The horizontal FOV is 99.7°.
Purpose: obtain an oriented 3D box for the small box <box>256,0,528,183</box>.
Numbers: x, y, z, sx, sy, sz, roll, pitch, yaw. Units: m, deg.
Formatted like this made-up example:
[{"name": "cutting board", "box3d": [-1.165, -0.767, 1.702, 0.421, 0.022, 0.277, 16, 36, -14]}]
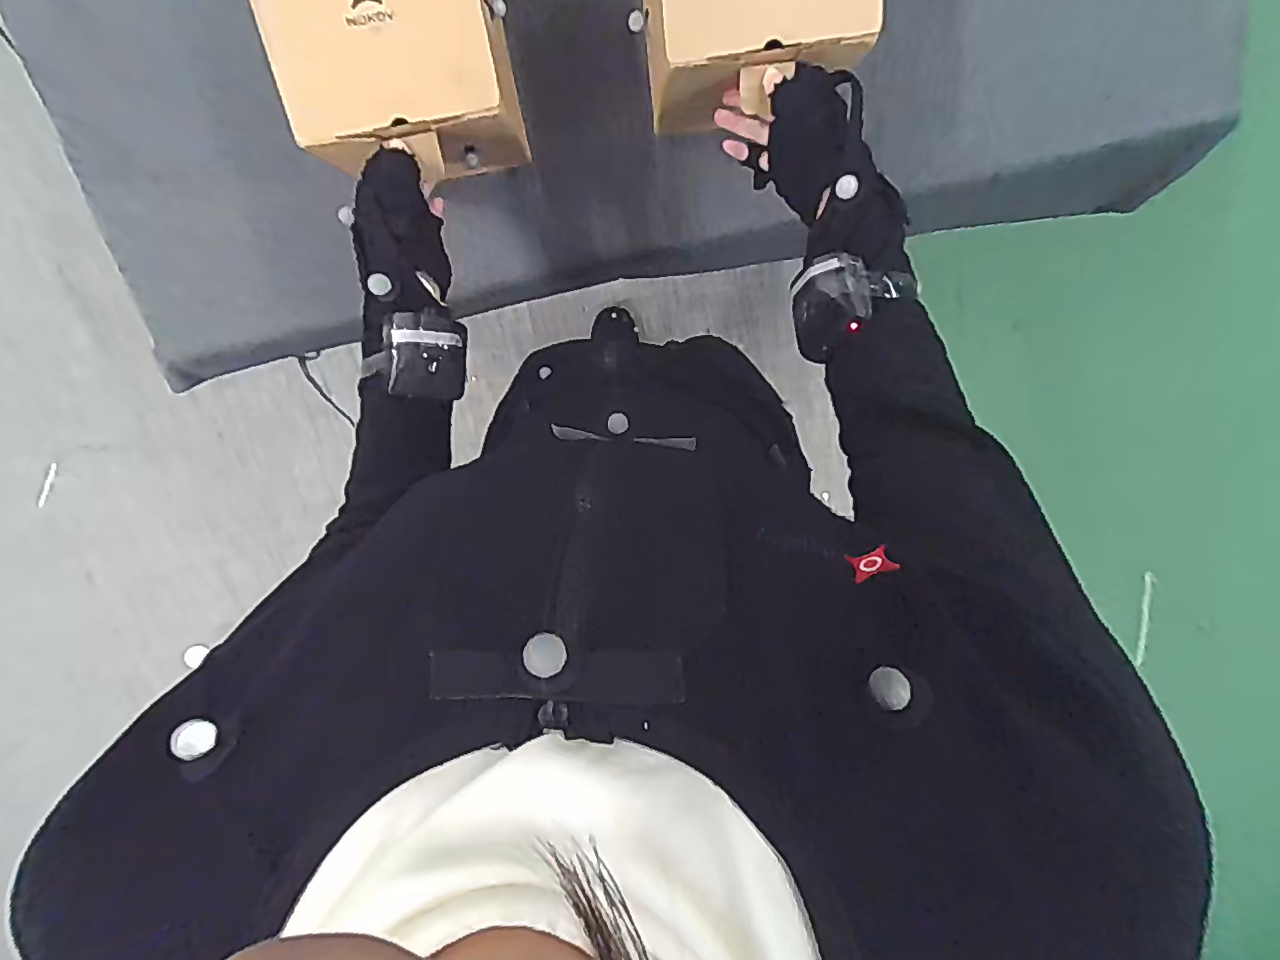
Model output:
[{"name": "small box", "box3d": [-0.207, -0.384, 0.482, 0.168, 0.176, 0.179, -12, 107, 0]}]
